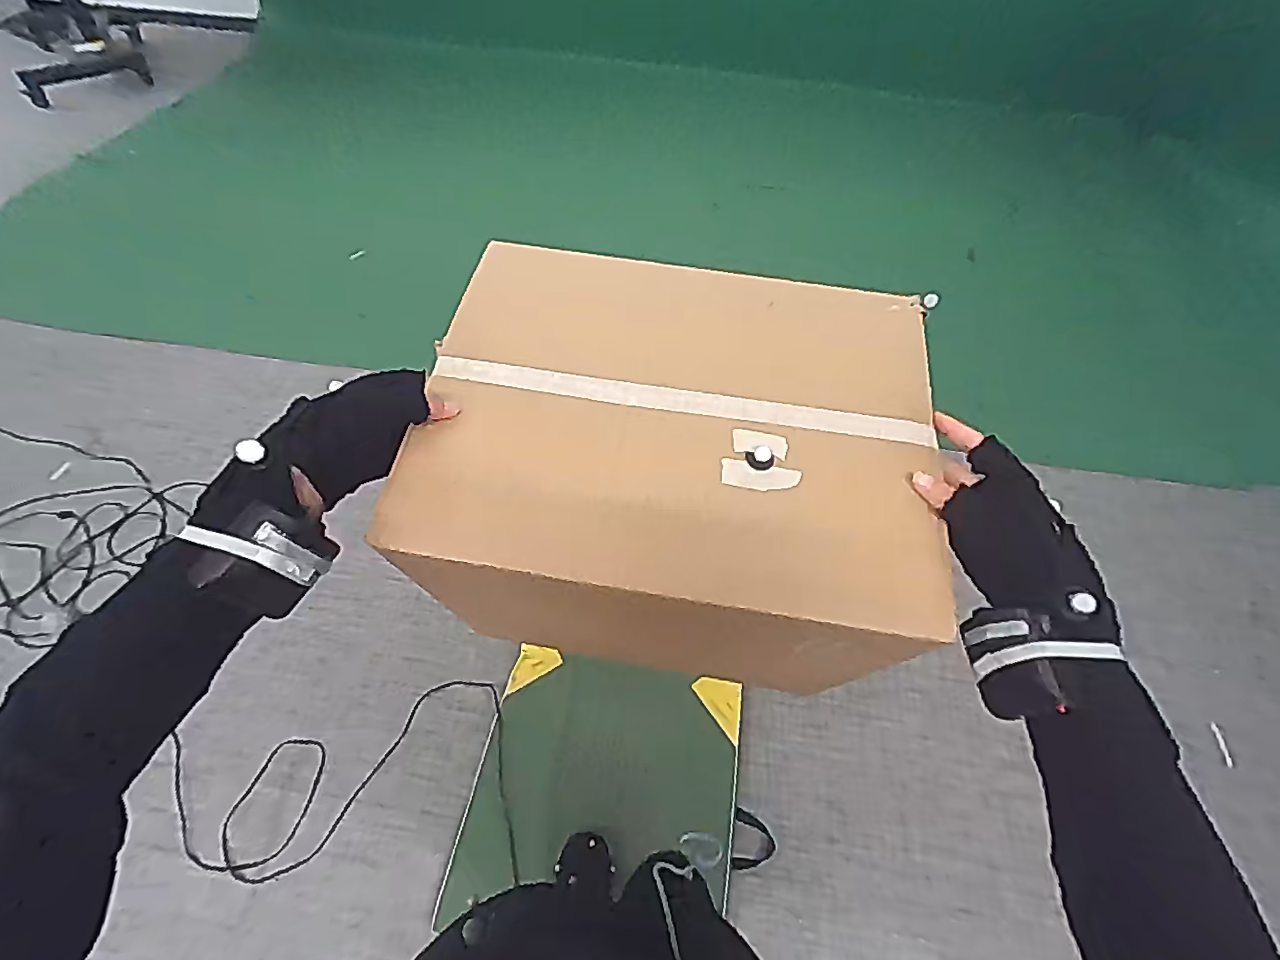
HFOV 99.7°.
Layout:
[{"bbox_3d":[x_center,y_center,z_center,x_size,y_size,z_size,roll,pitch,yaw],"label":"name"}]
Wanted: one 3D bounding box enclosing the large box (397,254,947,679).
[{"bbox_3d":[0.033,0.007,0.581,0.408,0.320,0.320,9,63,2],"label":"large box"}]
